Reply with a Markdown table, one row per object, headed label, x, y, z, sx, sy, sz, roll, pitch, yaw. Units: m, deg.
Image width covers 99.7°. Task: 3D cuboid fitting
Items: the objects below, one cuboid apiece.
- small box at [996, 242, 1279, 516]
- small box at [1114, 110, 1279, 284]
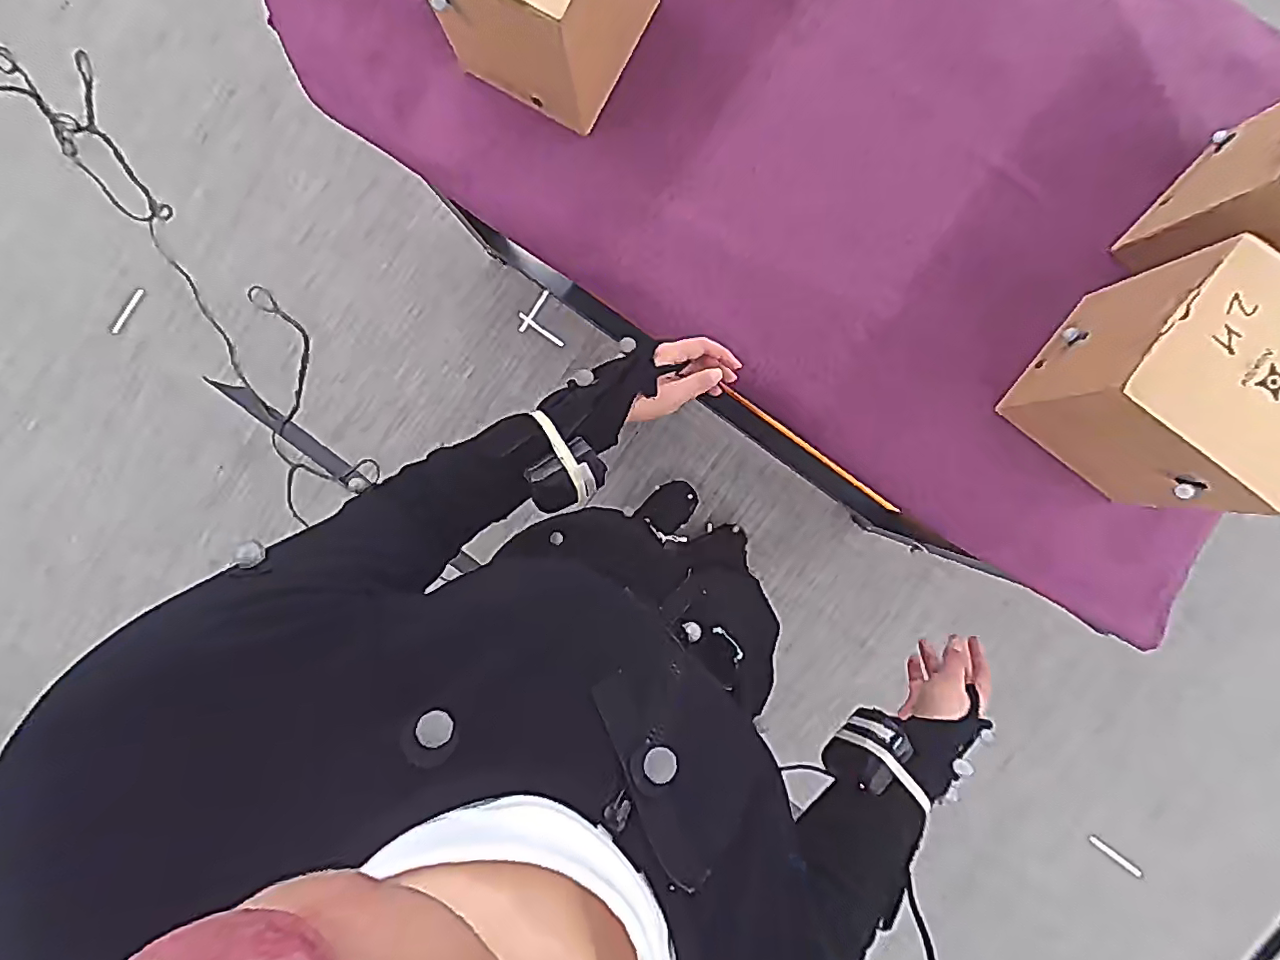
| label | x | y | z | sx | sy | sz | roll | pitch | yaw |
| --- | --- | --- | --- | --- | --- | --- | --- | --- | --- |
| small box | 0.513 | -0.087 | 0.532 | 0.179 | 0.176 | 0.168 | 38 | 92 | 1 |
| small box | 0.631 | -0.249 | 0.520 | 0.179 | 0.176 | 0.168 | 42 | 95 | -1 |
